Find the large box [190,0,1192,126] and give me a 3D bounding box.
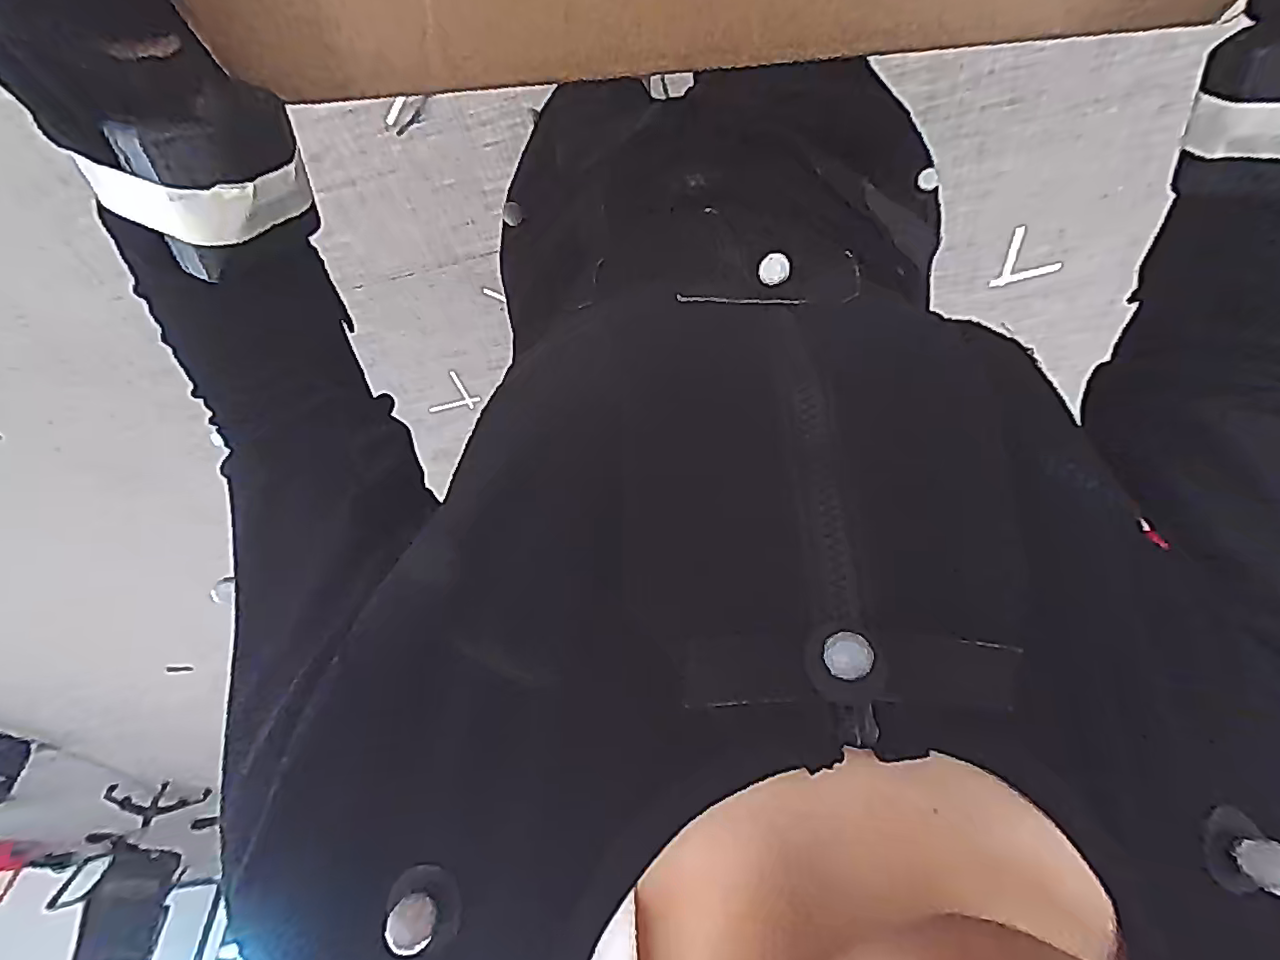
[{"bbox_3d":[0.019,-0.364,0.139,0.408,0.320,0.320,-5,163,1],"label":"large box"}]
